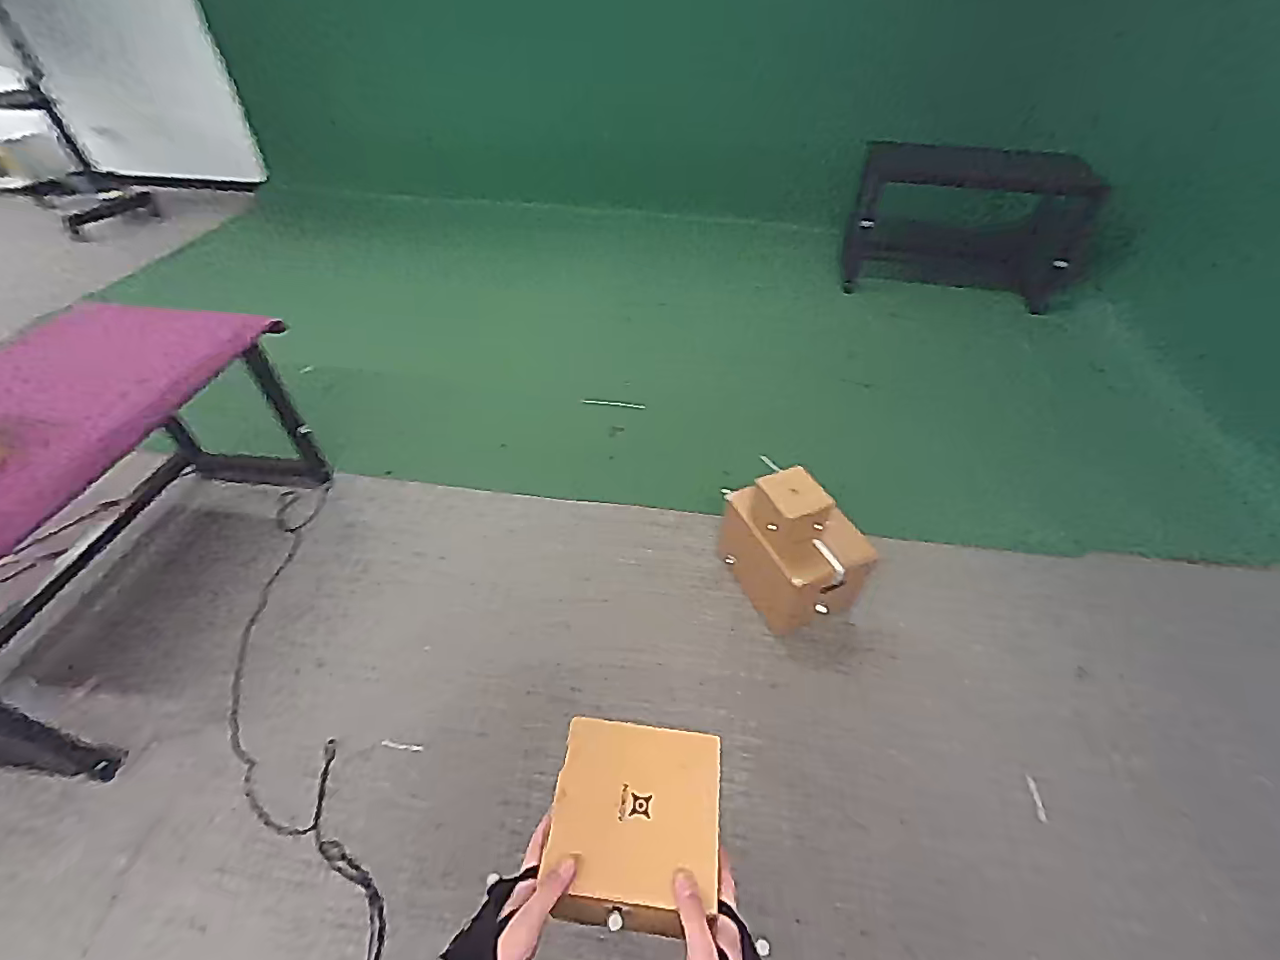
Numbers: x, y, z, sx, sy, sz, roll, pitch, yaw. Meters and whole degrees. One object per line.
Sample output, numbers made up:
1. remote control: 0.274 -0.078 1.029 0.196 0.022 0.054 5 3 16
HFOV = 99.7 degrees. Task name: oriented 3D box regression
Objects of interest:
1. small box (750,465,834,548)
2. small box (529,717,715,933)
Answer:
1. small box: 0.456 0.088 1.648 0.168 0.176 0.179 -17 48 -17
2. small box: -0.012 0.395 0.618 0.179 0.176 0.168 4 44 4
